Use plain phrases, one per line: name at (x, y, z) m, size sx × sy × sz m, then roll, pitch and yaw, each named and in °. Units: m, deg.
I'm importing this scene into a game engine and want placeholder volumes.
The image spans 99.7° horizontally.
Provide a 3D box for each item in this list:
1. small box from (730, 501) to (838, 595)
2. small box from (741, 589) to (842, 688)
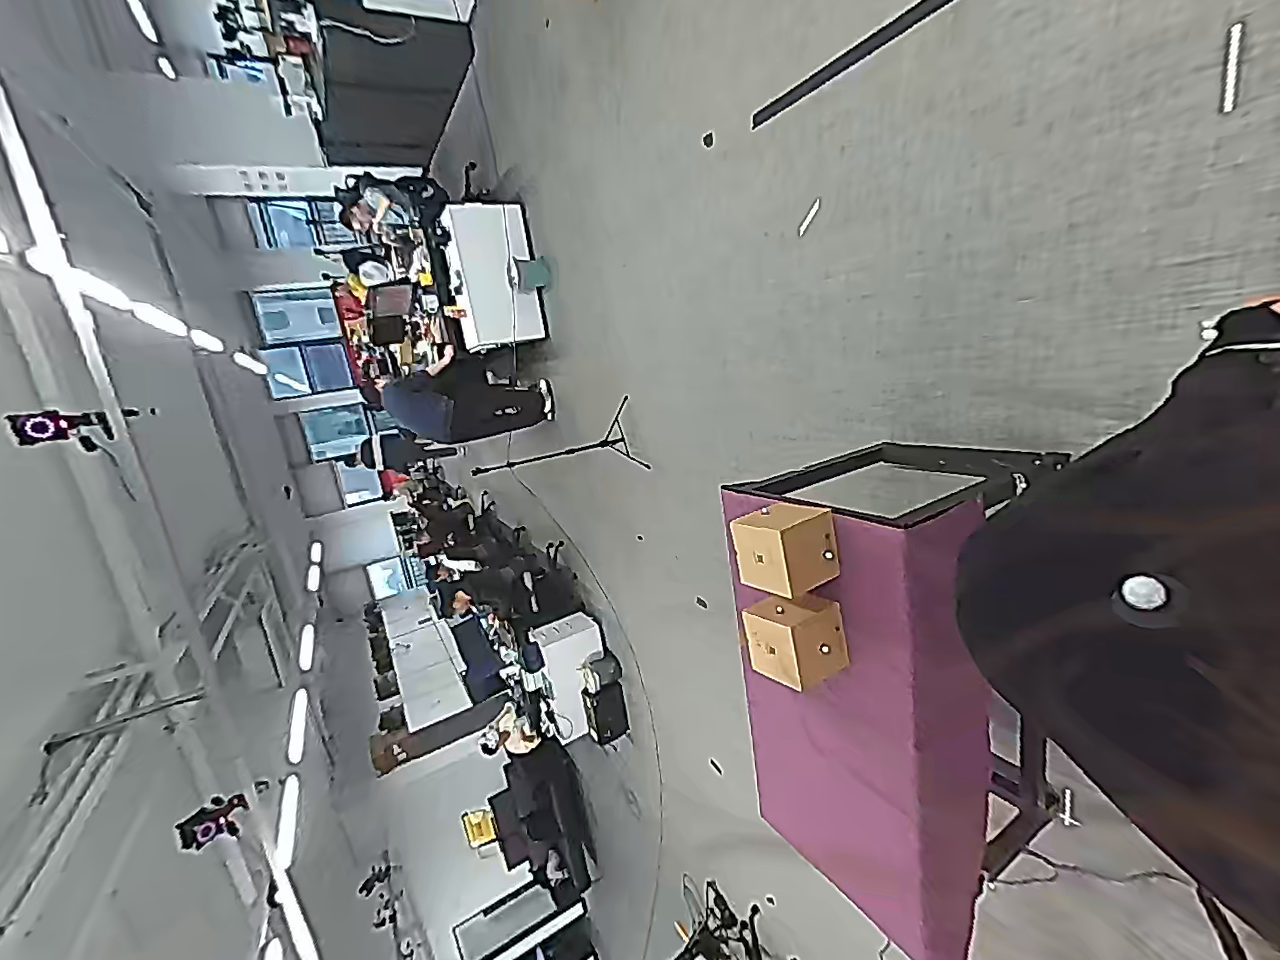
small box at (0.348, 0.156, 1.309) m, size 0.179 × 0.176 × 0.168 m, roll 7°, pitch 112°, yaw 61°
small box at (0.387, 0.386, 1.361) m, size 0.179 × 0.176 × 0.168 m, roll 3°, pitch 107°, yaw 62°
